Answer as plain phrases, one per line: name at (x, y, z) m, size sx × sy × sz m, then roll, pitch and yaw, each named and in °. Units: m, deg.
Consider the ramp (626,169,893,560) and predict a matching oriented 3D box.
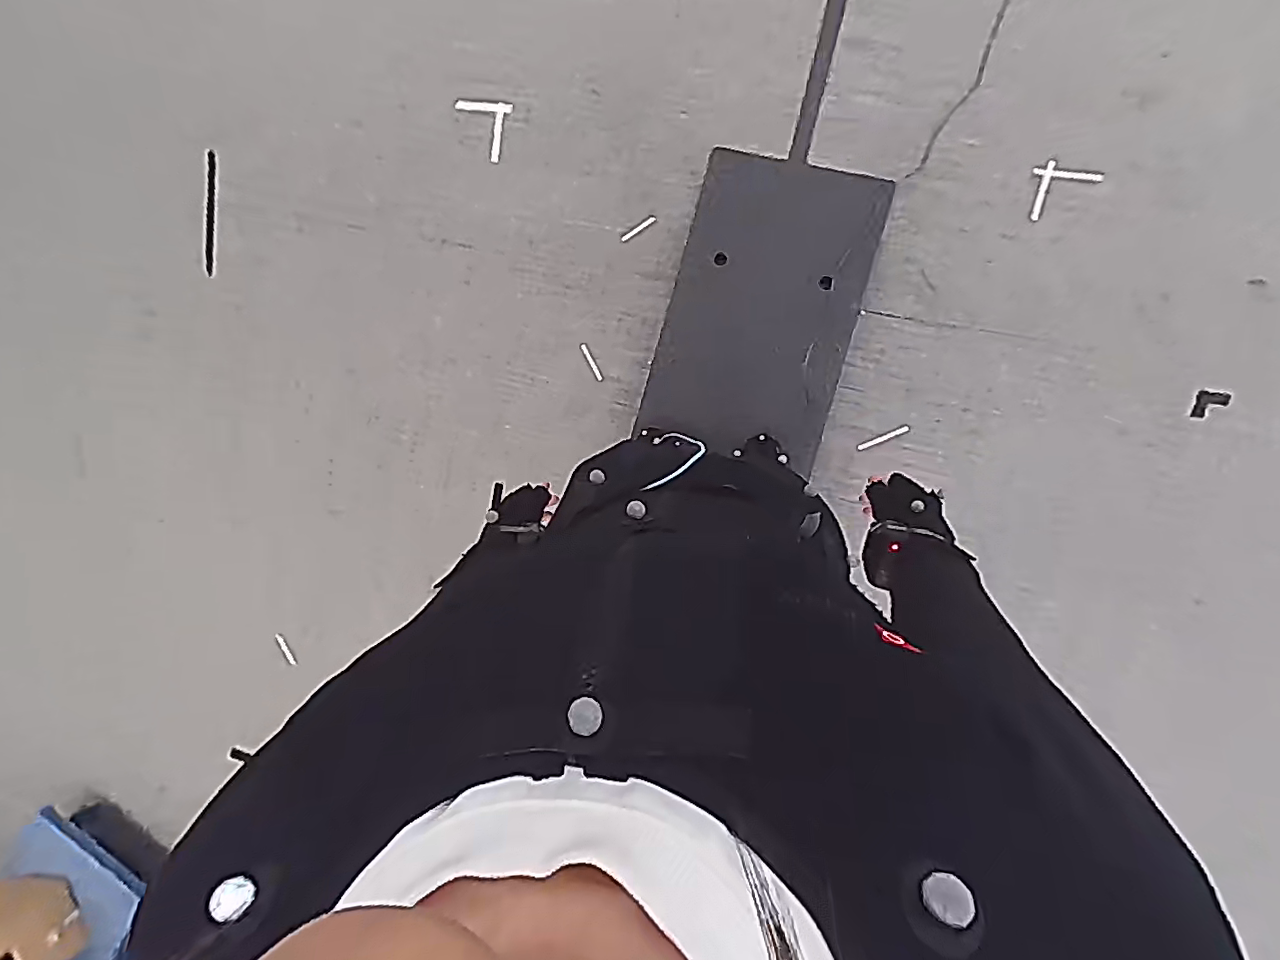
ramp at (0.310, -0.327, 1.457) m, size 0.509 × 0.206 × 0.991 m, roll 13°, pitch 99°, yaw 11°
